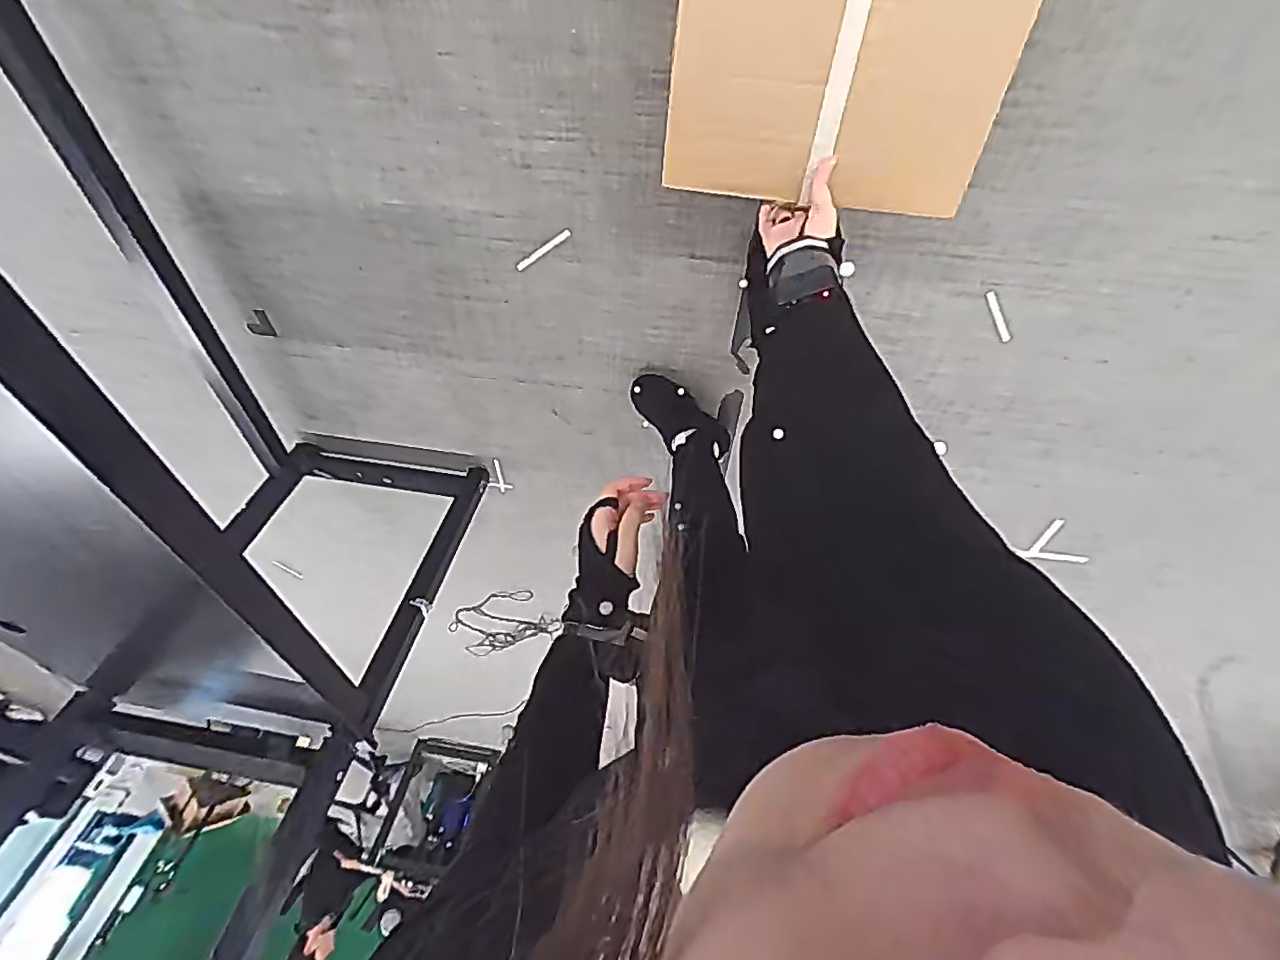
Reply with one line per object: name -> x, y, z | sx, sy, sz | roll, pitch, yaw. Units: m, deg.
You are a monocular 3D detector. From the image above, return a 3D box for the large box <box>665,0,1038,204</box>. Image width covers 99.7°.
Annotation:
large box -> 0.208, -0.543, 0.567 | 0.320, 0.320, 0.408 | 7, 126, 2
